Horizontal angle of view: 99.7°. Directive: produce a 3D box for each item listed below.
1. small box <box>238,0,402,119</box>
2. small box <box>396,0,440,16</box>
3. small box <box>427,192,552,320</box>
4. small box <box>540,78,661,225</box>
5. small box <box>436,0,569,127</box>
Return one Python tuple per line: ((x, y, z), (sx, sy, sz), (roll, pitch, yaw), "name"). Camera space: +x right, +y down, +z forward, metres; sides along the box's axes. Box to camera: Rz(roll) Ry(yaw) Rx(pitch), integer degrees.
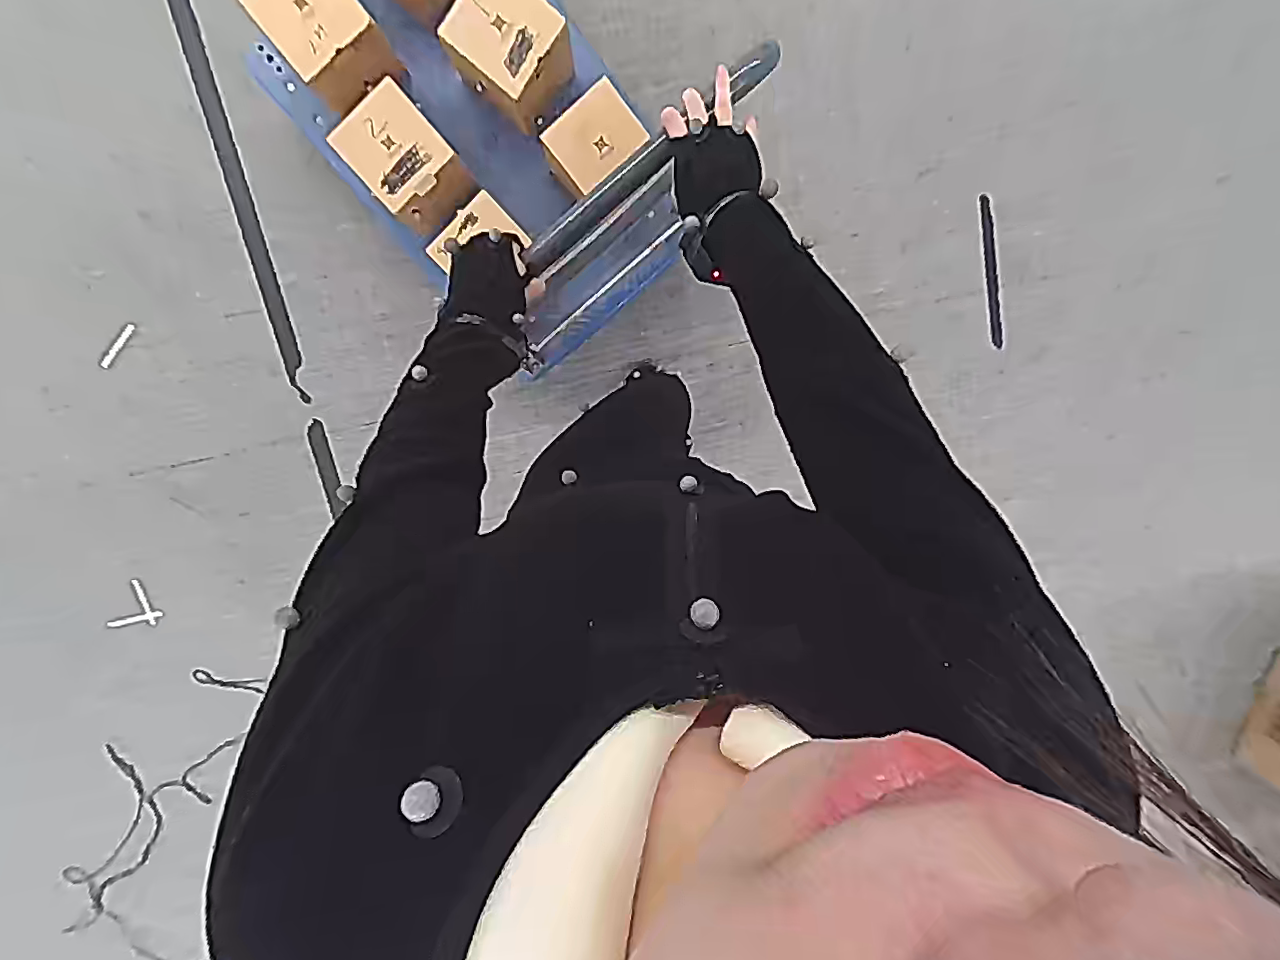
((-0.595, -0.842, 1.026), (0.168, 0.176, 0.179), (-38, 102, 5), "small box")
((-0.442, -1.019, 0.998), (0.168, 0.176, 0.179), (-43, 101, 6), "small box")
((-0.300, -0.452, 1.126), (0.168, 0.176, 0.179), (-44, 101, 5), "small box")
((-0.077, -0.647, 1.098), (0.168, 0.176, 0.179), (-40, 101, 5), "small box")
((-0.253, -0.829, 1.049), (0.179, 0.176, 0.168), (37, 98, -9), "small box")
